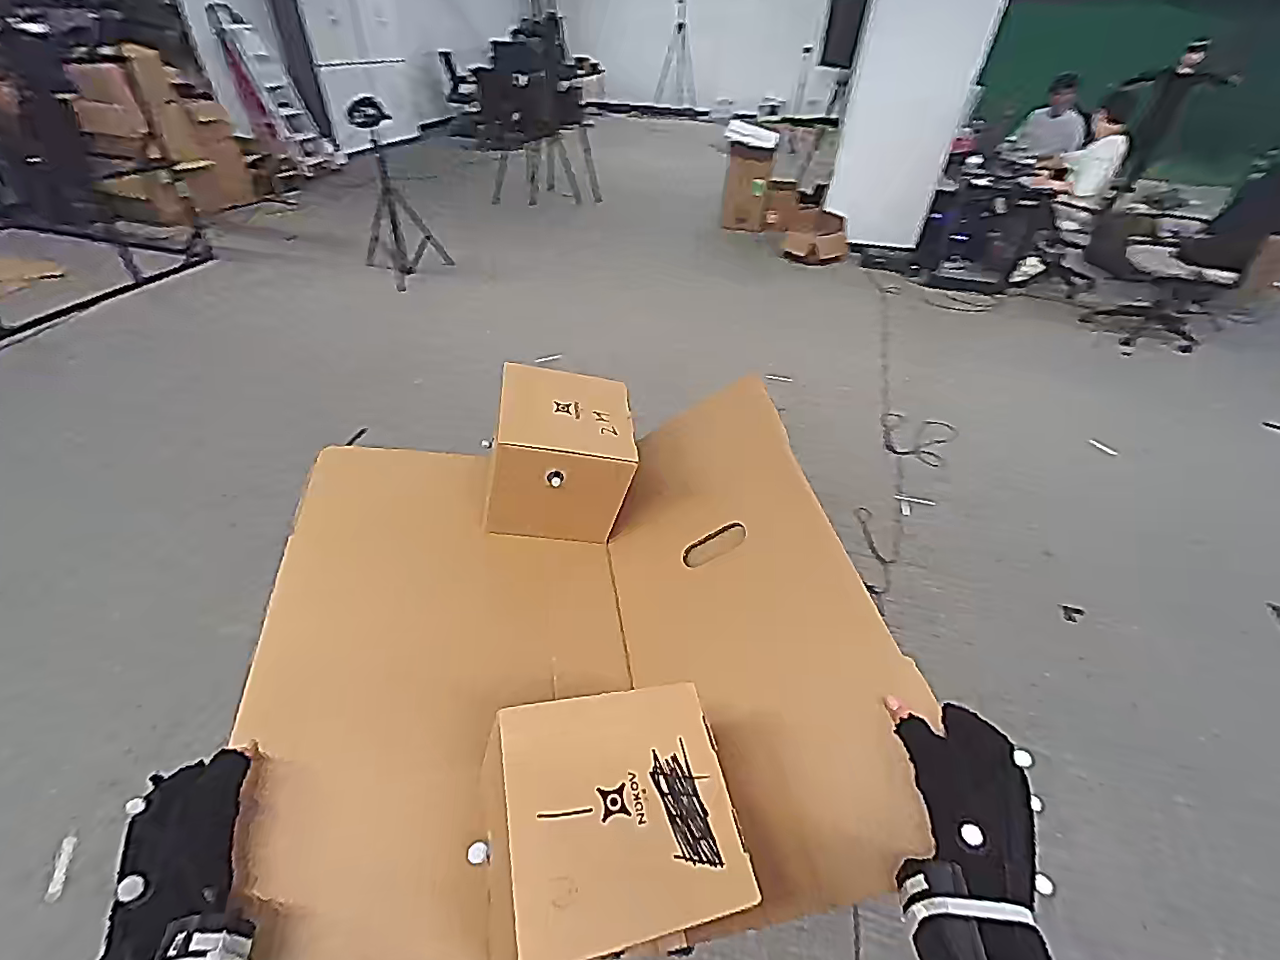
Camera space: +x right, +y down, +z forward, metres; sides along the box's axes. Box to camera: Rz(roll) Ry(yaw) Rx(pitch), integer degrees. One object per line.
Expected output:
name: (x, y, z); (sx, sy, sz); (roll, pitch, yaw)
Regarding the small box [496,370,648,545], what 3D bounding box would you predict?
small box: (-0.101, -0.026, 0.758); (0.179, 0.176, 0.168); (9, 44, -16)
